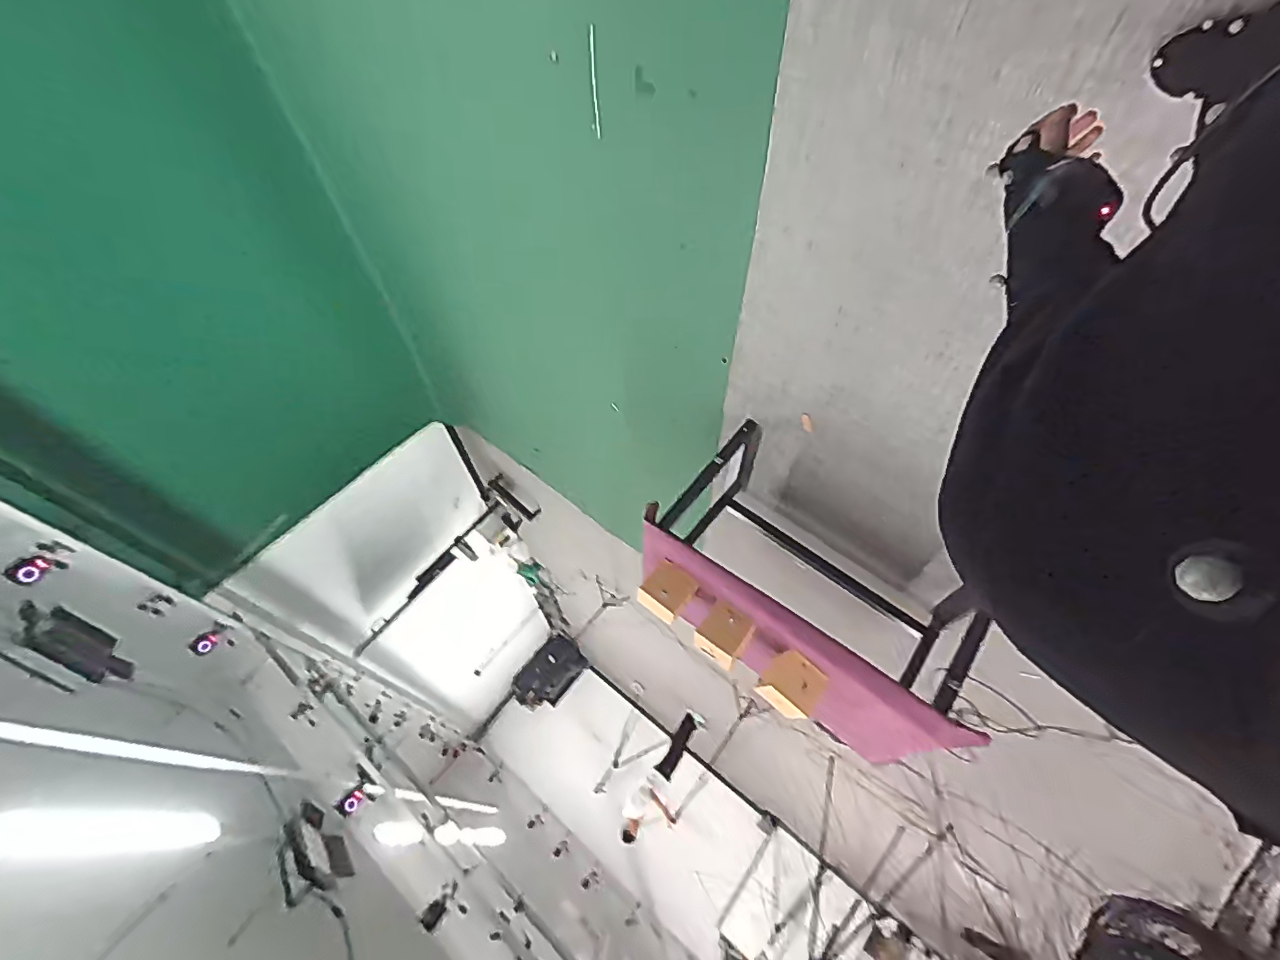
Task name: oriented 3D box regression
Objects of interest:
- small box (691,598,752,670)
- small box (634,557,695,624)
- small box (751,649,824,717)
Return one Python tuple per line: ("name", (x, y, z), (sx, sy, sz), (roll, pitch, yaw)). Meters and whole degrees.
("small box", (0.309, 0.586, 2.063), (0.168, 0.176, 0.179), (32, 152, 23))
("small box", (0.097, 0.437, 2.142), (0.179, 0.176, 0.168), (35, 155, 17))
("small box", (0.537, 0.734, 1.960), (0.168, 0.176, 0.179), (40, 156, 8))
